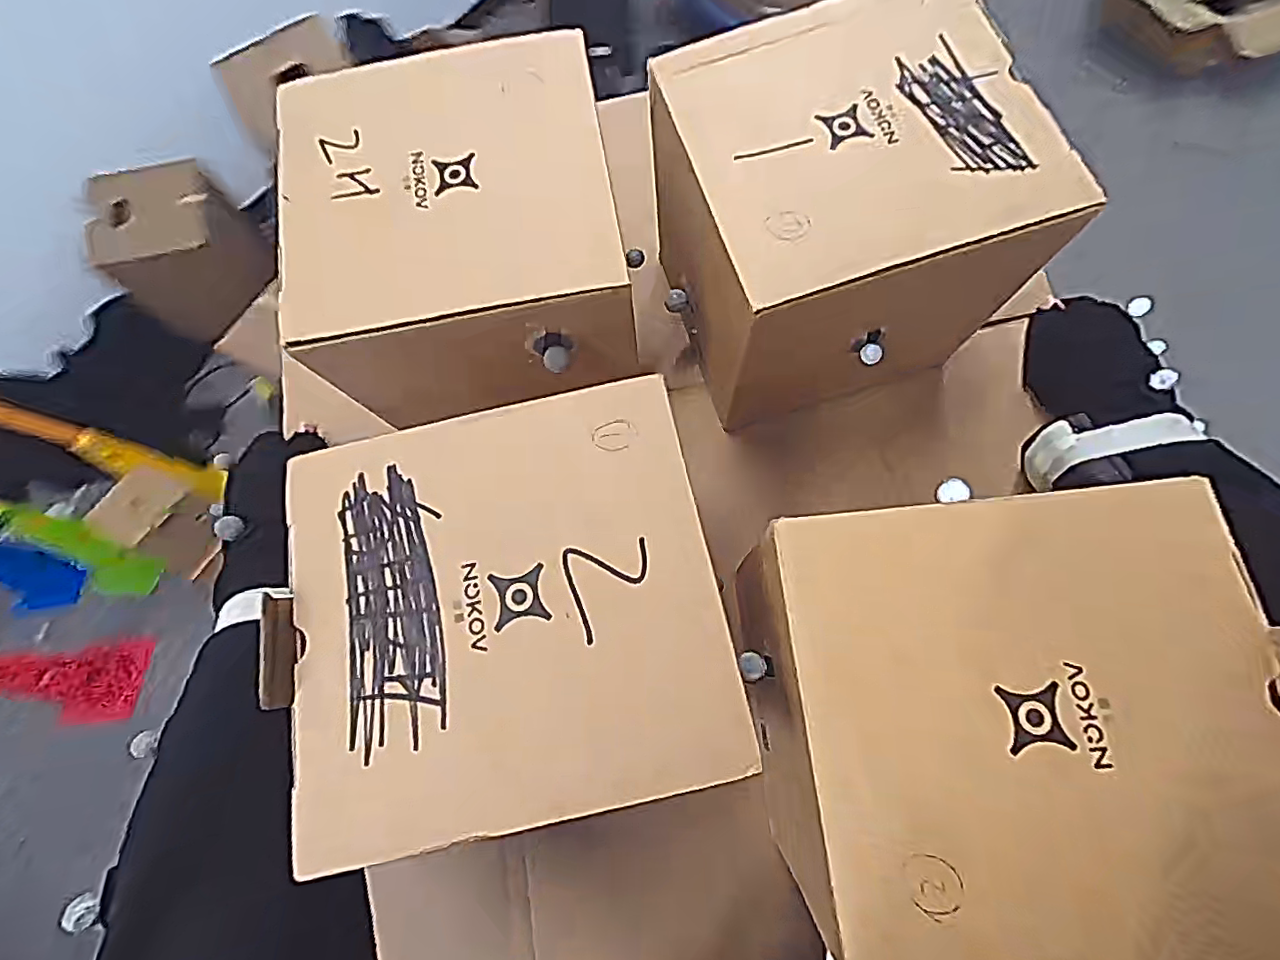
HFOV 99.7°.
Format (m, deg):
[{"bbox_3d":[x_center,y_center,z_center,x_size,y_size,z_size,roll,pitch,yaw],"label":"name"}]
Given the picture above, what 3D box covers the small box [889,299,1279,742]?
[{"bbox_3d":[0.250,0.027,0.275,0.179,0.176,0.168,7,80,6],"label":"small box"}]
